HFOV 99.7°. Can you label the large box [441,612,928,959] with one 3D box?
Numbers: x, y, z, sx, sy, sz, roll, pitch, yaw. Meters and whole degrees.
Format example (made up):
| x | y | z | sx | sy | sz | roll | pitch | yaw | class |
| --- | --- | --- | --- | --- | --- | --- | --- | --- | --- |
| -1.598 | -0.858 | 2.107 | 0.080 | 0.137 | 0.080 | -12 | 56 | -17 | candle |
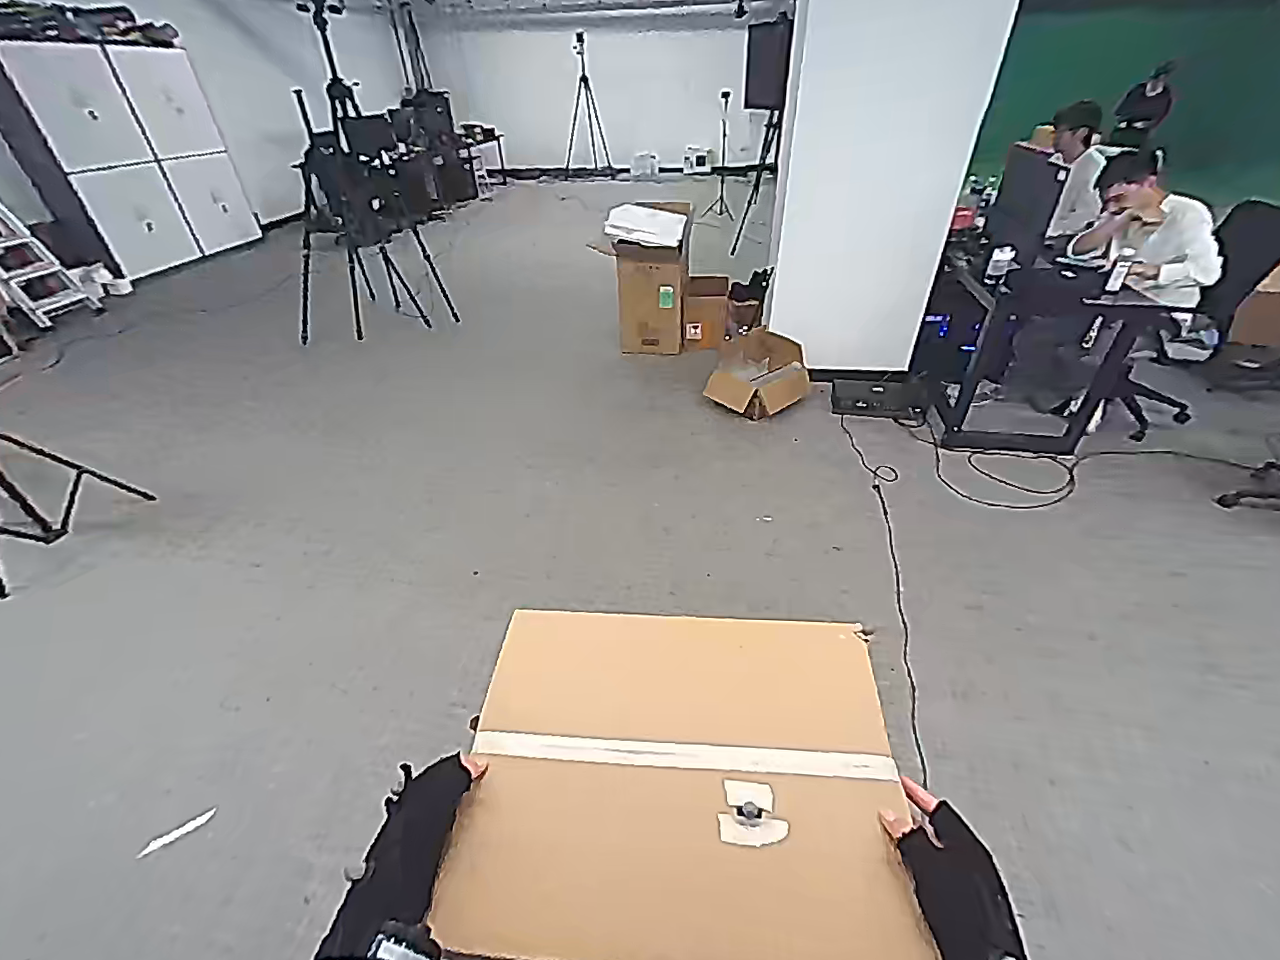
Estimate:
| x | y | z | sx | sy | sz | roll | pitch | yaw | class |
| --- | --- | --- | --- | --- | --- | --- | --- | --- | --- |
| 0.046 | 0.380 | 0.643 | 0.408 | 0.320 | 0.320 | 2 | 44 | 6 | large box |
